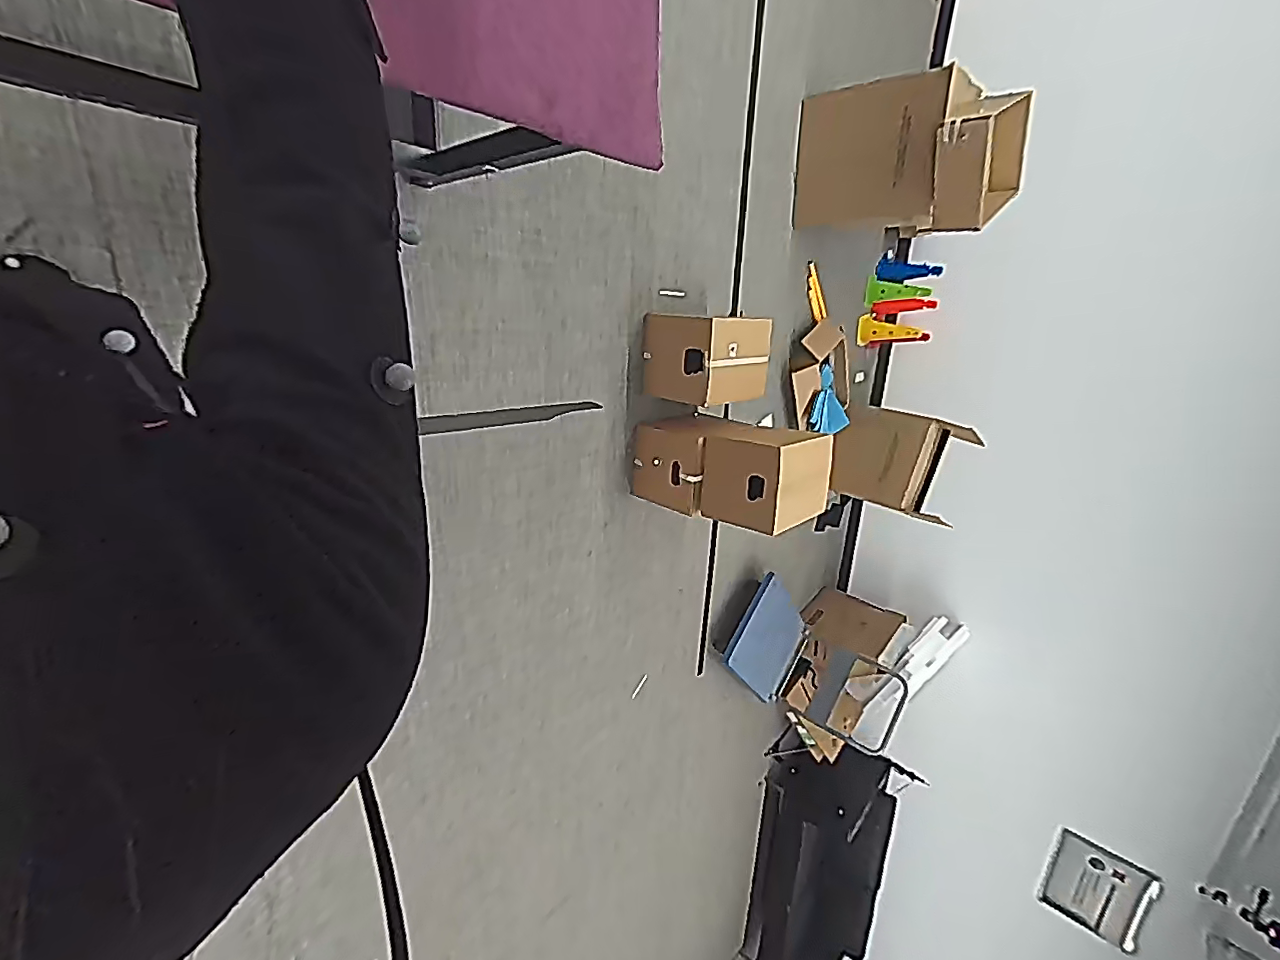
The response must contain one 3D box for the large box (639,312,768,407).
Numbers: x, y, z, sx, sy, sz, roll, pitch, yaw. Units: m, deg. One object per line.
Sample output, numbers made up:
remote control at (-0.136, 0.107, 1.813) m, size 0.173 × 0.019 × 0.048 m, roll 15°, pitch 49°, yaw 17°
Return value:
large box at (0.246, -0.482, 2.105) m, size 0.408 × 0.320 × 0.320 m, roll -17°, pitch 116°, yaw -44°
